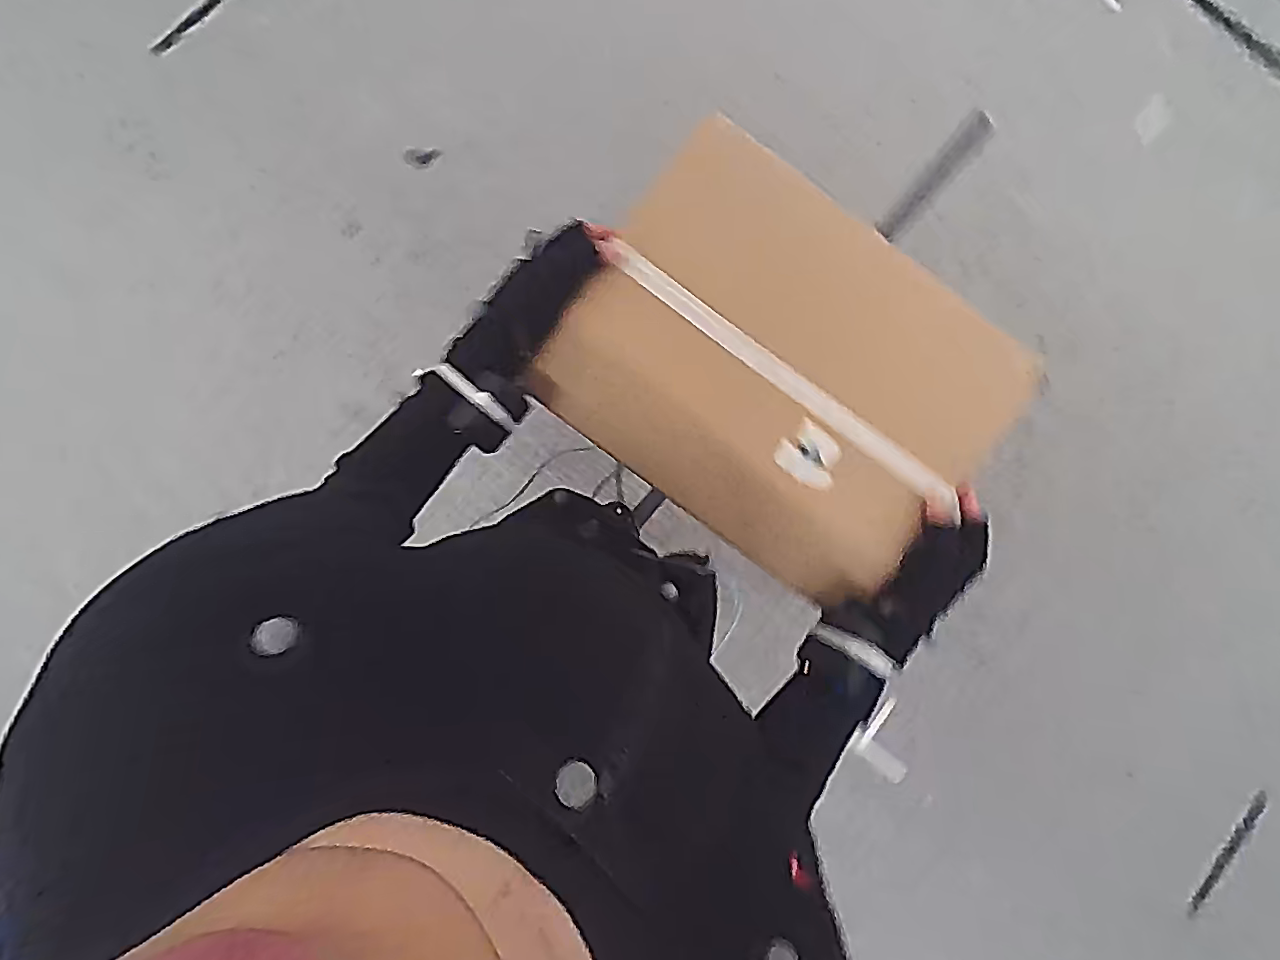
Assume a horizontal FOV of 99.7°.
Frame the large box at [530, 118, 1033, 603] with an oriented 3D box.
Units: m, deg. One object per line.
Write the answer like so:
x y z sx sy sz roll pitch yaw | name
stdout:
0.135 -0.120 0.673 0.408 0.320 0.320 36 94 -3 | large box
